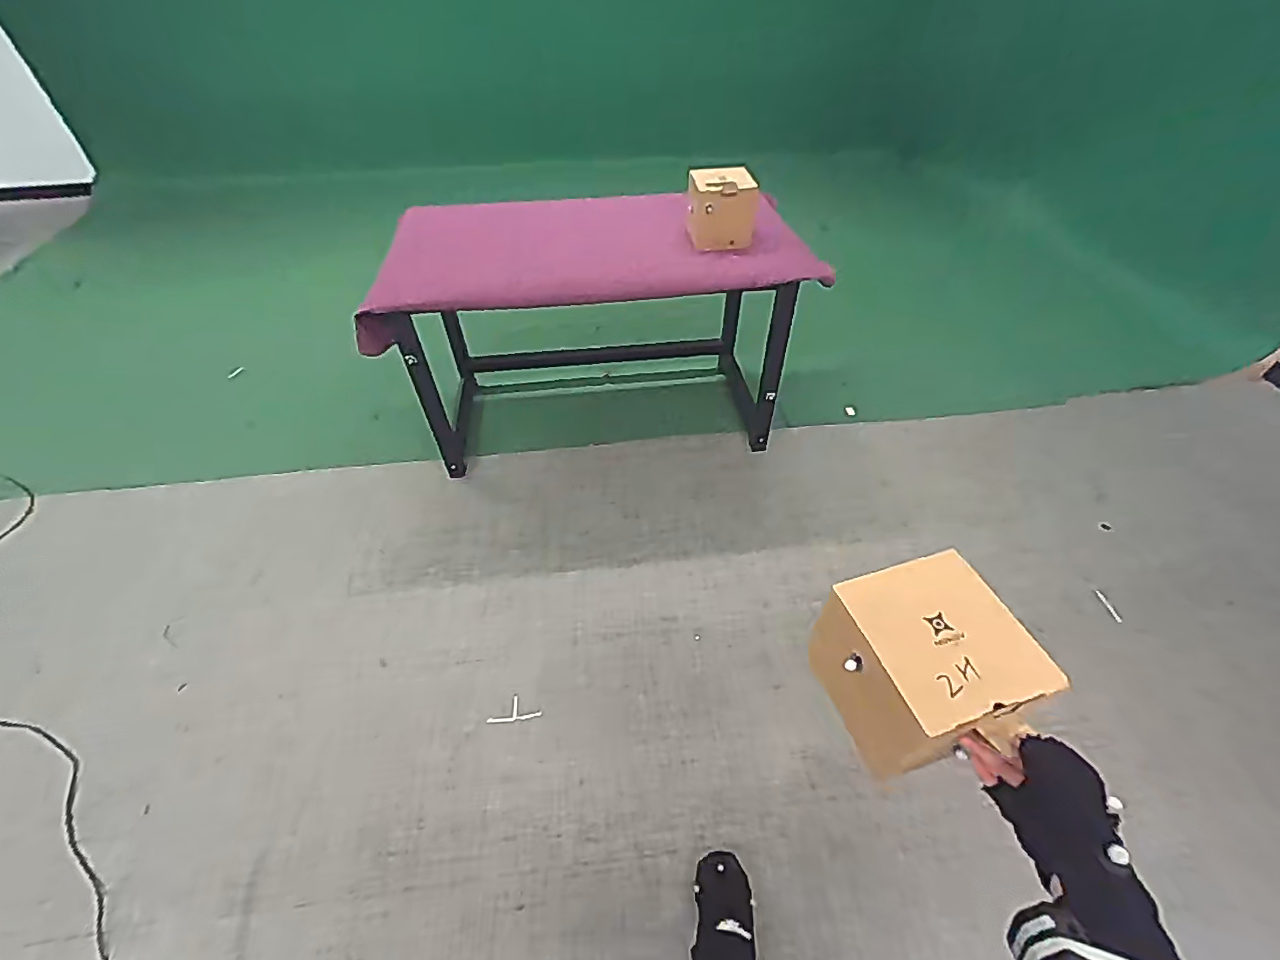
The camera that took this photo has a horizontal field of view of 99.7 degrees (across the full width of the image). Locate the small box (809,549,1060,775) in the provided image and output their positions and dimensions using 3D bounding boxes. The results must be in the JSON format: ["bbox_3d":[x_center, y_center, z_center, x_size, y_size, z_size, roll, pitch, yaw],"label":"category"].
[{"bbox_3d":[0.322,0.215,0.640,0.168,0.176,0.179,-14,49,-9],"label":"small box"}]
